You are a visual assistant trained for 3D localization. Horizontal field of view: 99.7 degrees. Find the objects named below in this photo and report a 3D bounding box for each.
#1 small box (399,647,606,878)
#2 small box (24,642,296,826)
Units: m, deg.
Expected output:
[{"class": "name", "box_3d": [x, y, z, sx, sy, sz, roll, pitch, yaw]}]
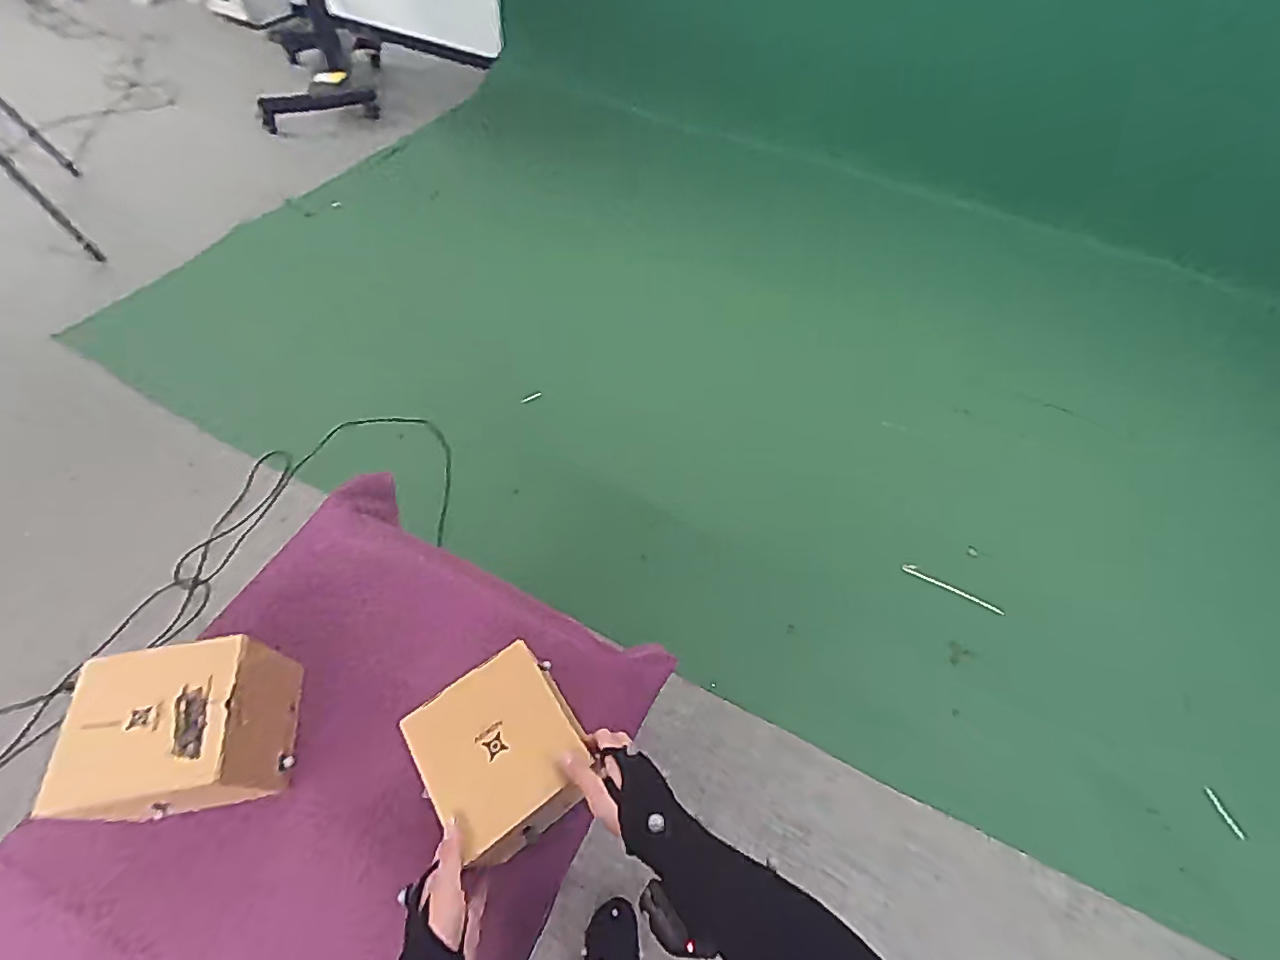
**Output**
[{"class": "small box", "box_3d": [-0.158, 0.345, 0.669, 0.168, 0.176, 0.179, -32, 59, -16]}, {"class": "small box", "box_3d": [-0.561, 0.316, 0.670, 0.179, 0.176, 0.168, -7, 57, -9]}]
